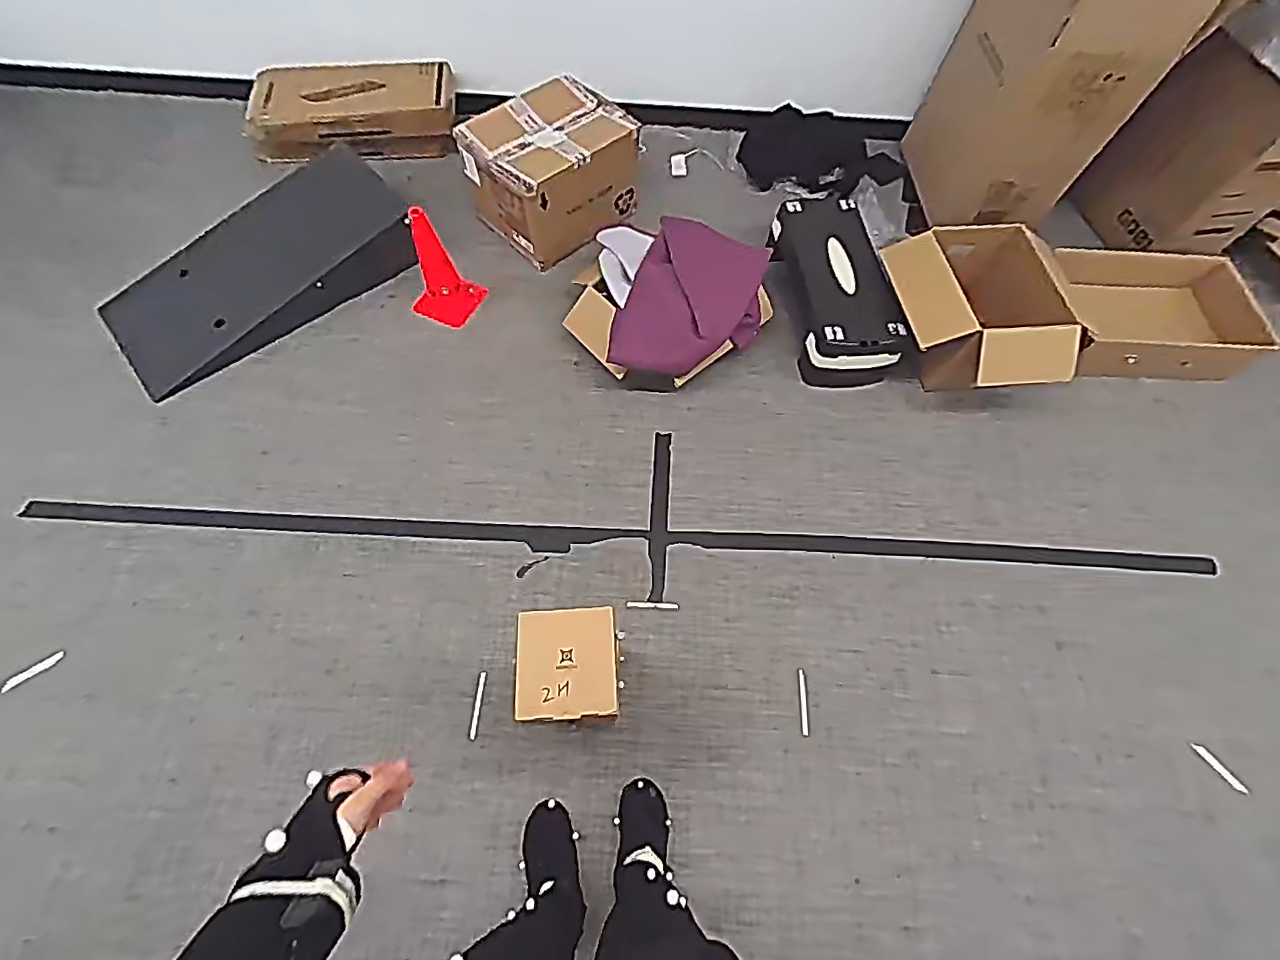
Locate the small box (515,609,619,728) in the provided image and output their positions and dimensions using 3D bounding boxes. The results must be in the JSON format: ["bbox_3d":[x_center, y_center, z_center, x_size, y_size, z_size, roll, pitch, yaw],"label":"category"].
[{"bbox_3d":[-0.123,0.341,0.966,0.168,0.176,0.179,-3,64,-2],"label":"small box"}]
